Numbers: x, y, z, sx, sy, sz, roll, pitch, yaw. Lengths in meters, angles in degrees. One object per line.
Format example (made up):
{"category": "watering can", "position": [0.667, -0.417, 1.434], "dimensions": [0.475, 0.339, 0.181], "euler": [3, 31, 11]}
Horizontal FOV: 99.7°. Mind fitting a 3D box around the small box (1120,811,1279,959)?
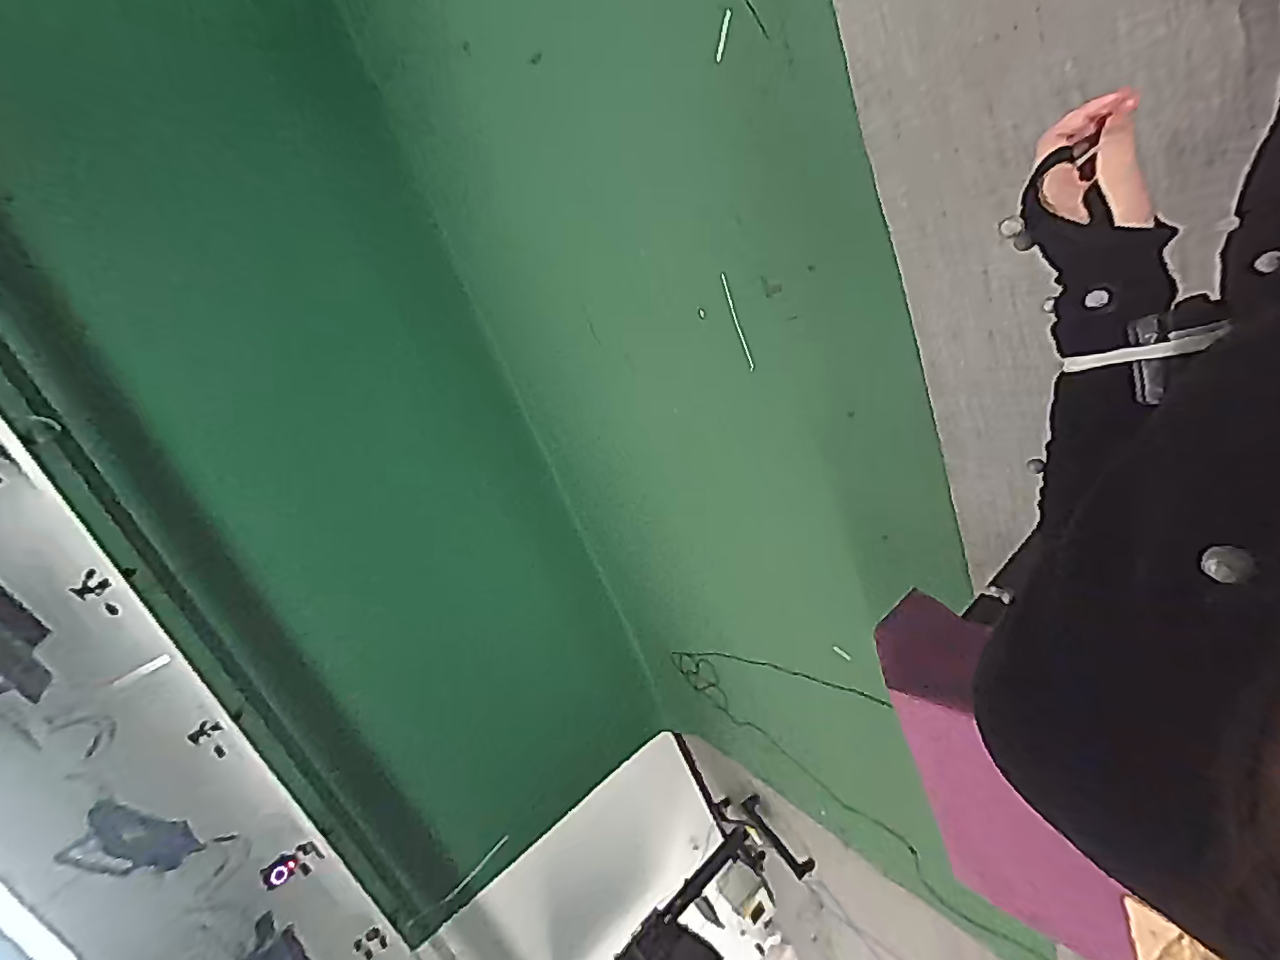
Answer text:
{"category": "small box", "position": [0.810, 0.609, 0.746], "dimensions": [0.179, 0.176, 0.168], "euler": [4, 120, 58]}
